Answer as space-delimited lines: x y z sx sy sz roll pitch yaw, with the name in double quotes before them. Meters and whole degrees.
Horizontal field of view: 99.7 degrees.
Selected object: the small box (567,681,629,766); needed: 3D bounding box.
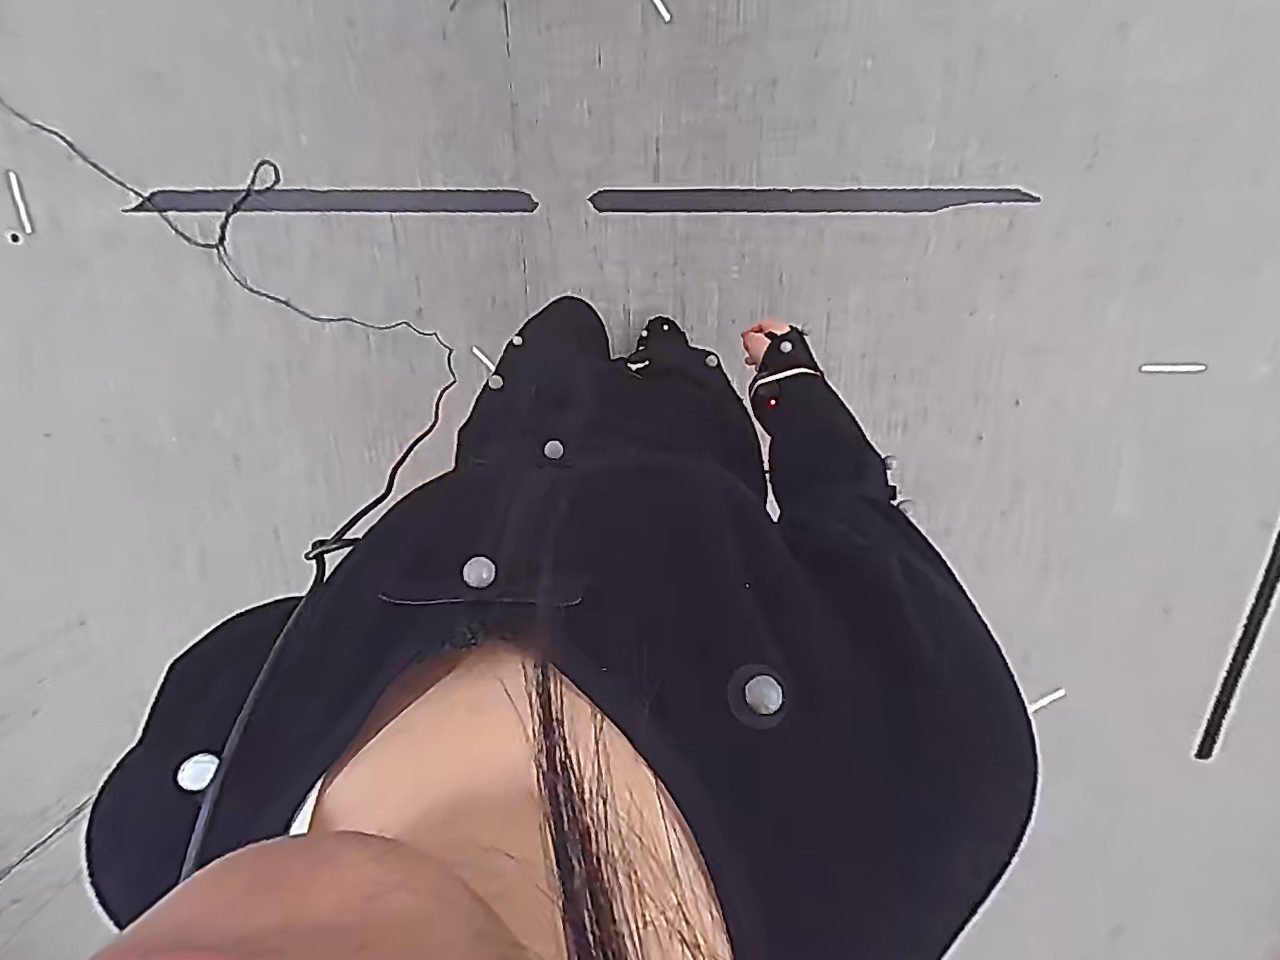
"small box" -0.124 0.736 1.648 0.168 0.176 0.179 0 108 4
